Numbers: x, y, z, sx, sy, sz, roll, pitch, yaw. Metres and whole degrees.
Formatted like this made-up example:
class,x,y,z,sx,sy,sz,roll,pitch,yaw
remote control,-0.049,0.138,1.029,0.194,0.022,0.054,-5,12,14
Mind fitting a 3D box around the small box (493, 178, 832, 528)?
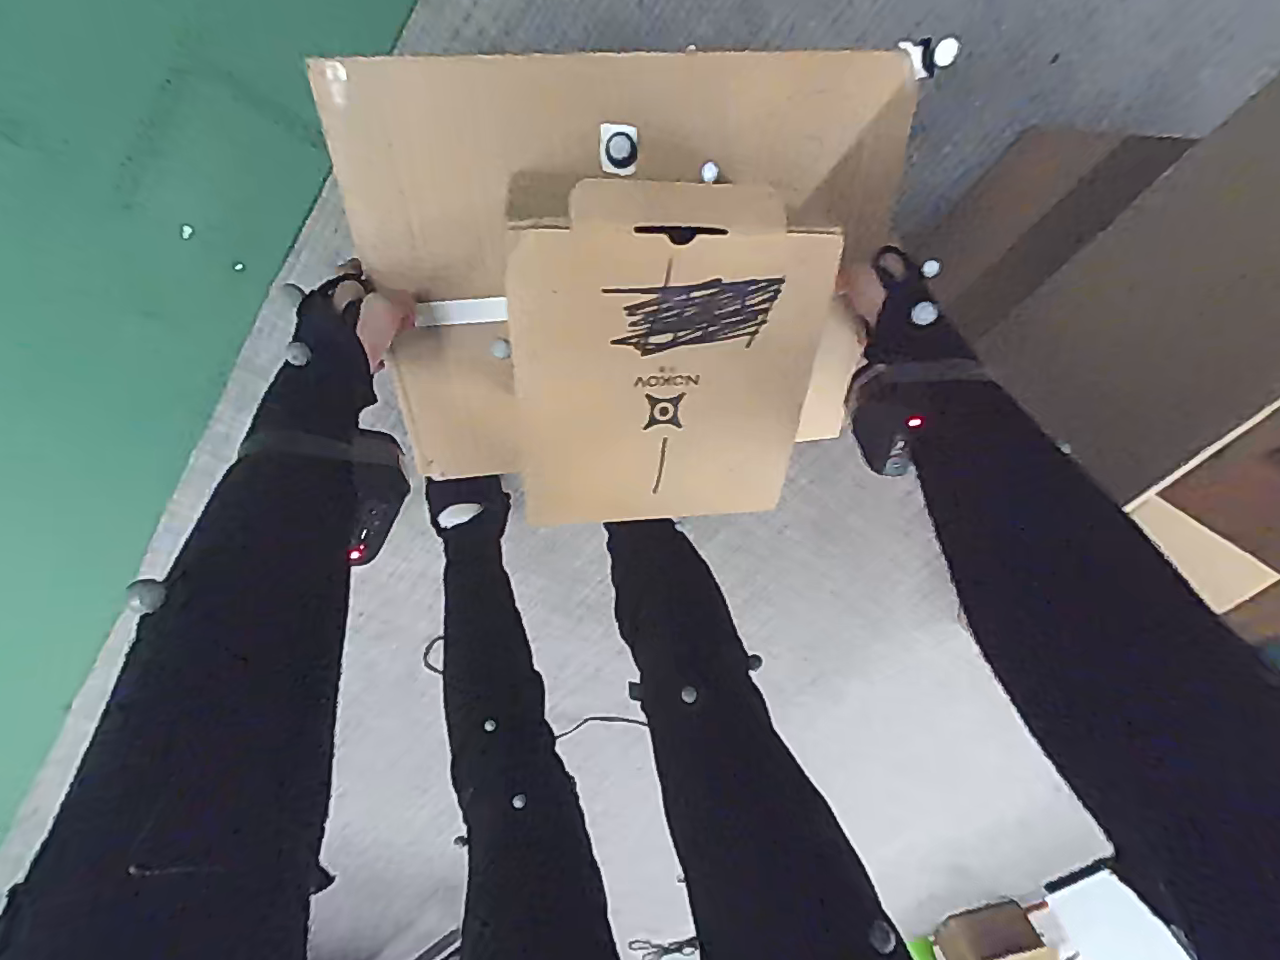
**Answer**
class,x,y,z,sx,sy,sz,roll,pitch,yaw
small box,-0.005,-0.092,0.357,0.168,0.176,0.179,-3,126,-9
